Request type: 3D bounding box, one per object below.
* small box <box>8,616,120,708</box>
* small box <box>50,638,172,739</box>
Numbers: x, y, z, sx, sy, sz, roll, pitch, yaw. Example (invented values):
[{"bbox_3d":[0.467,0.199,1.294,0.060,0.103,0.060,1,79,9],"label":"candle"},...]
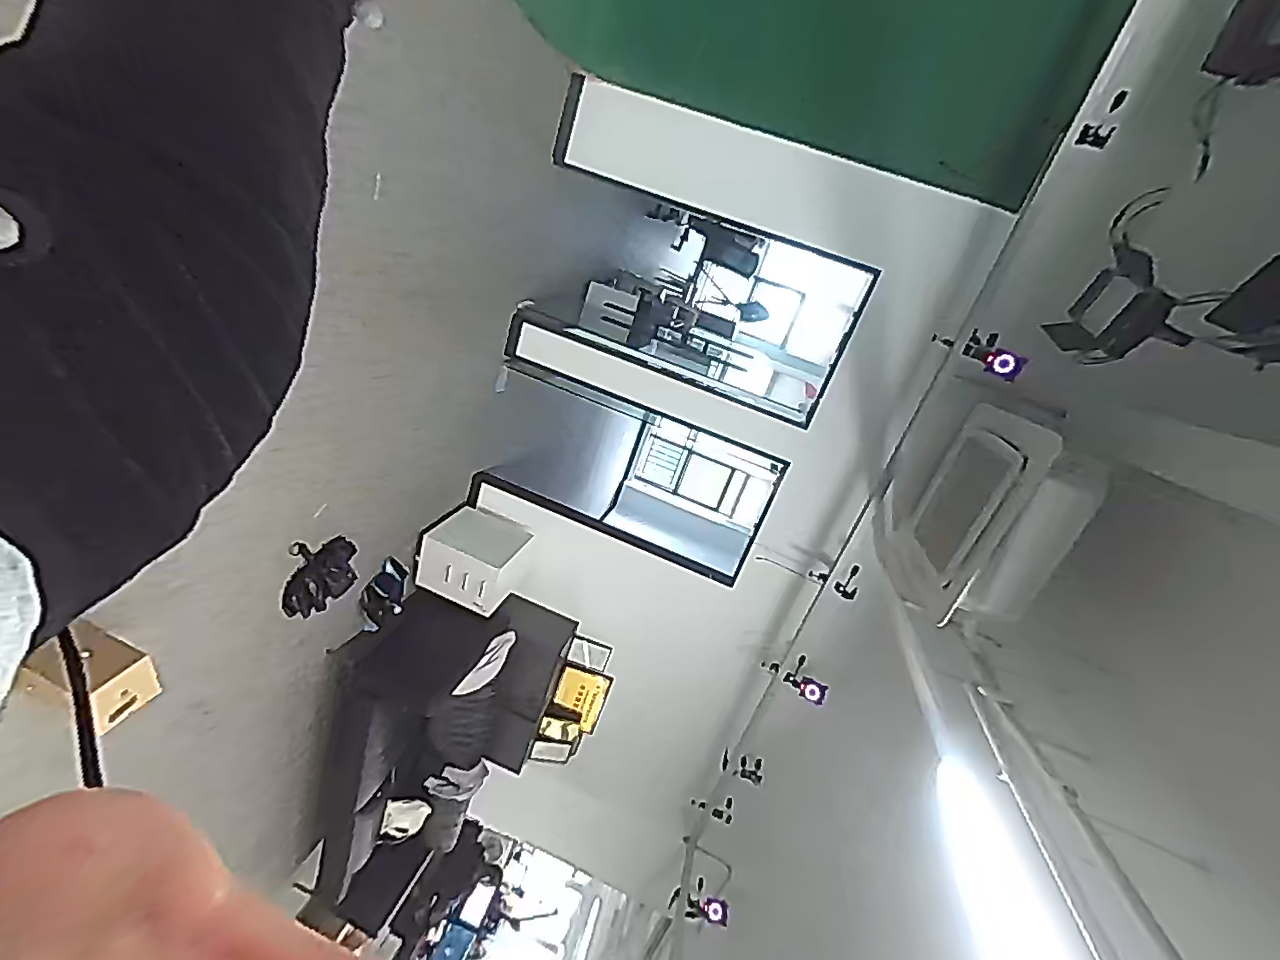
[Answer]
[{"bbox_3d":[-1.628,0.515,1.548,0.168,0.176,0.179,-55,167,-56],"label":"small box"},{"bbox_3d":[-1.479,0.579,1.519,0.168,0.176,0.179,-55,165,-57],"label":"small box"}]
